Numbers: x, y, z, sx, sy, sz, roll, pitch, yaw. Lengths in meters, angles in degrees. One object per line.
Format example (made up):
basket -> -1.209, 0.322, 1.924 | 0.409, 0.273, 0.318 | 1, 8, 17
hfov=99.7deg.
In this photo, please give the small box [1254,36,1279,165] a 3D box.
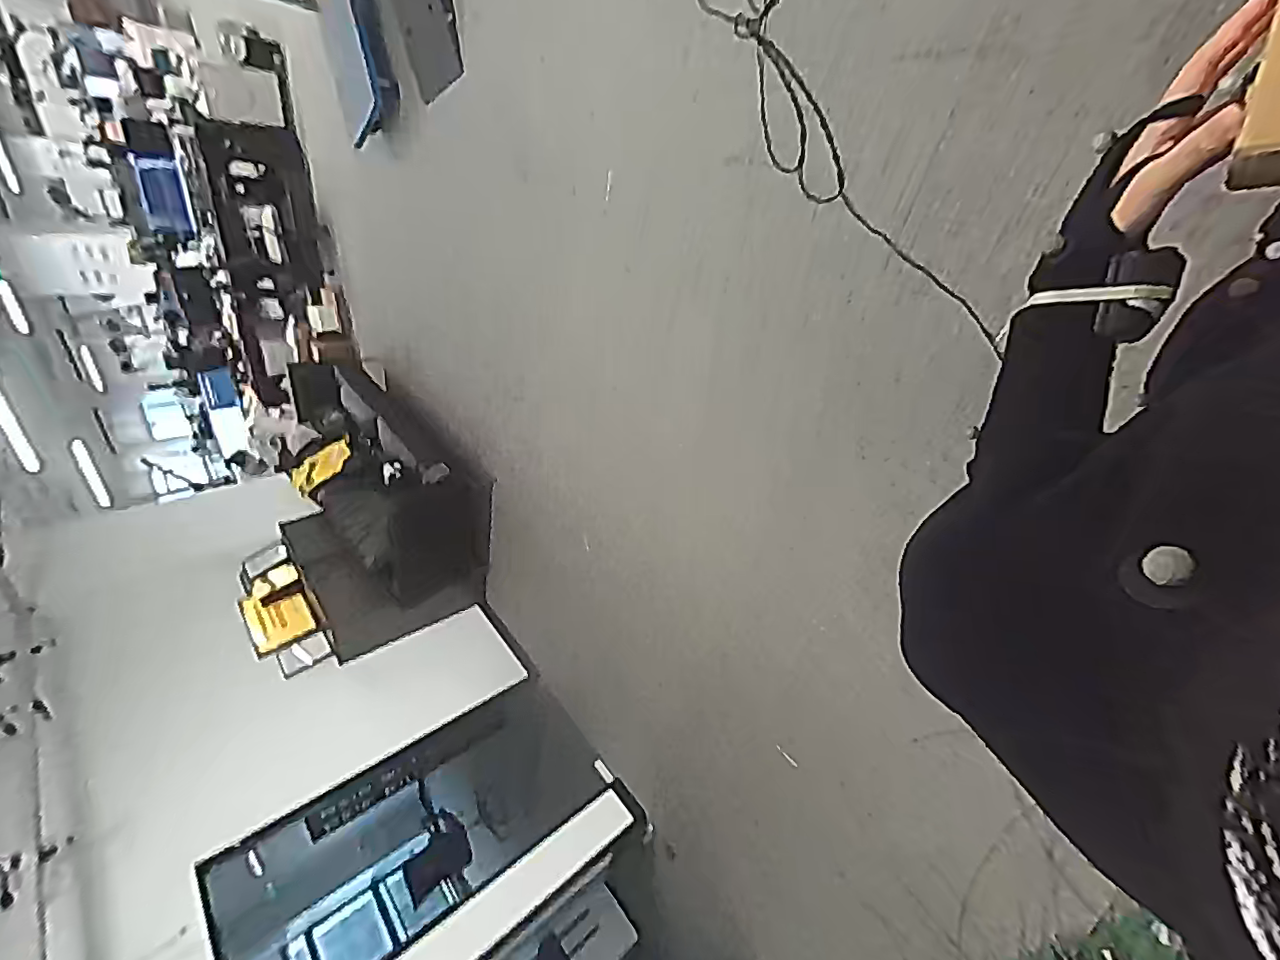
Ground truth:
small box -> 0.422, -0.261, 0.240 | 0.168, 0.176, 0.179 | 16, 116, 41
